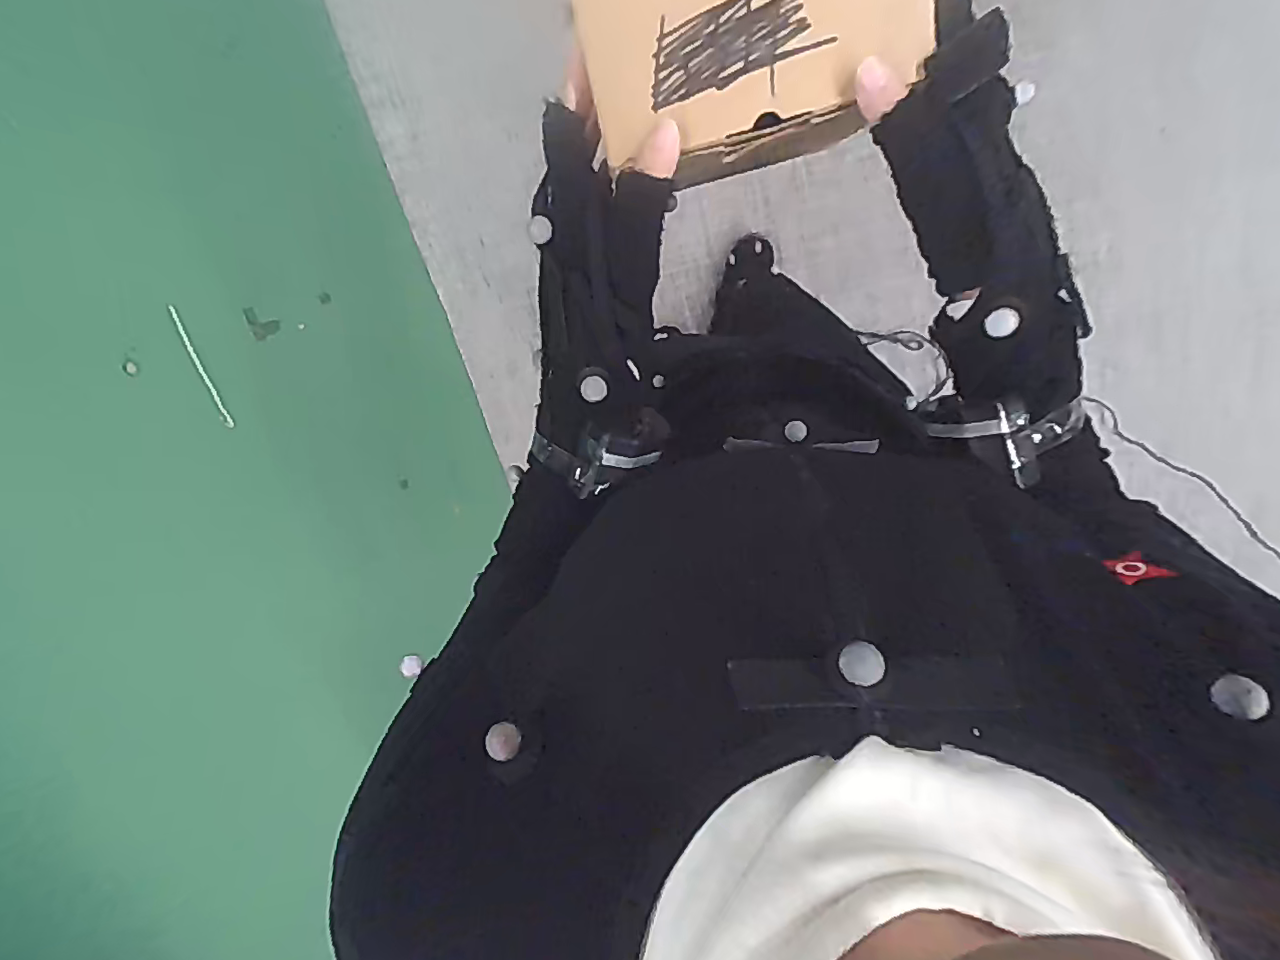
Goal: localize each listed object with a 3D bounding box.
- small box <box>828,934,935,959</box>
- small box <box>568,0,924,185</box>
[{"bbox_3d":[0.446,0.918,0.920,0.179,0.176,0.168,-20,110,10],"label":"small box"},{"bbox_3d":[0.045,-0.292,0.319,0.168,0.176,0.179,-12,109,7],"label":"small box"}]
